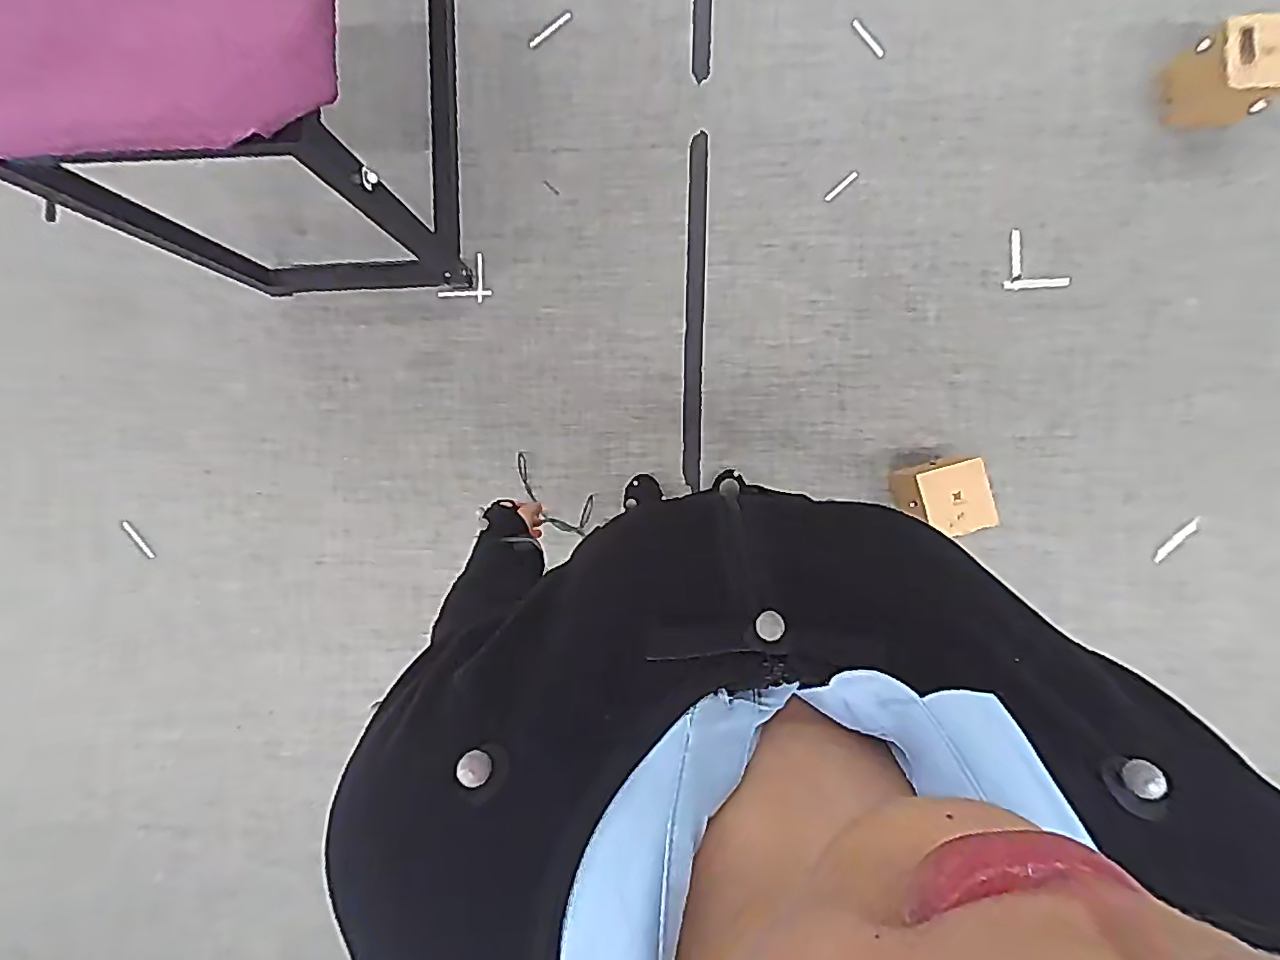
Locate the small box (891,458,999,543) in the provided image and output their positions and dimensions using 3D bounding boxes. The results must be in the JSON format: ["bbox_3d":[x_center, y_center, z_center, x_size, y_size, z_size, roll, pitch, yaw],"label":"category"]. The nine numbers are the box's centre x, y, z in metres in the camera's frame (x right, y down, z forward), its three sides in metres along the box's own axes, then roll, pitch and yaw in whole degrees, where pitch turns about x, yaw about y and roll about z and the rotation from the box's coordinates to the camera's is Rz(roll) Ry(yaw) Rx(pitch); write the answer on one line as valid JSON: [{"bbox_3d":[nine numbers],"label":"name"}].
[{"bbox_3d":[0.777,0.050,1.397,0.168,0.176,0.179,-16,91,2],"label":"small box"}]
